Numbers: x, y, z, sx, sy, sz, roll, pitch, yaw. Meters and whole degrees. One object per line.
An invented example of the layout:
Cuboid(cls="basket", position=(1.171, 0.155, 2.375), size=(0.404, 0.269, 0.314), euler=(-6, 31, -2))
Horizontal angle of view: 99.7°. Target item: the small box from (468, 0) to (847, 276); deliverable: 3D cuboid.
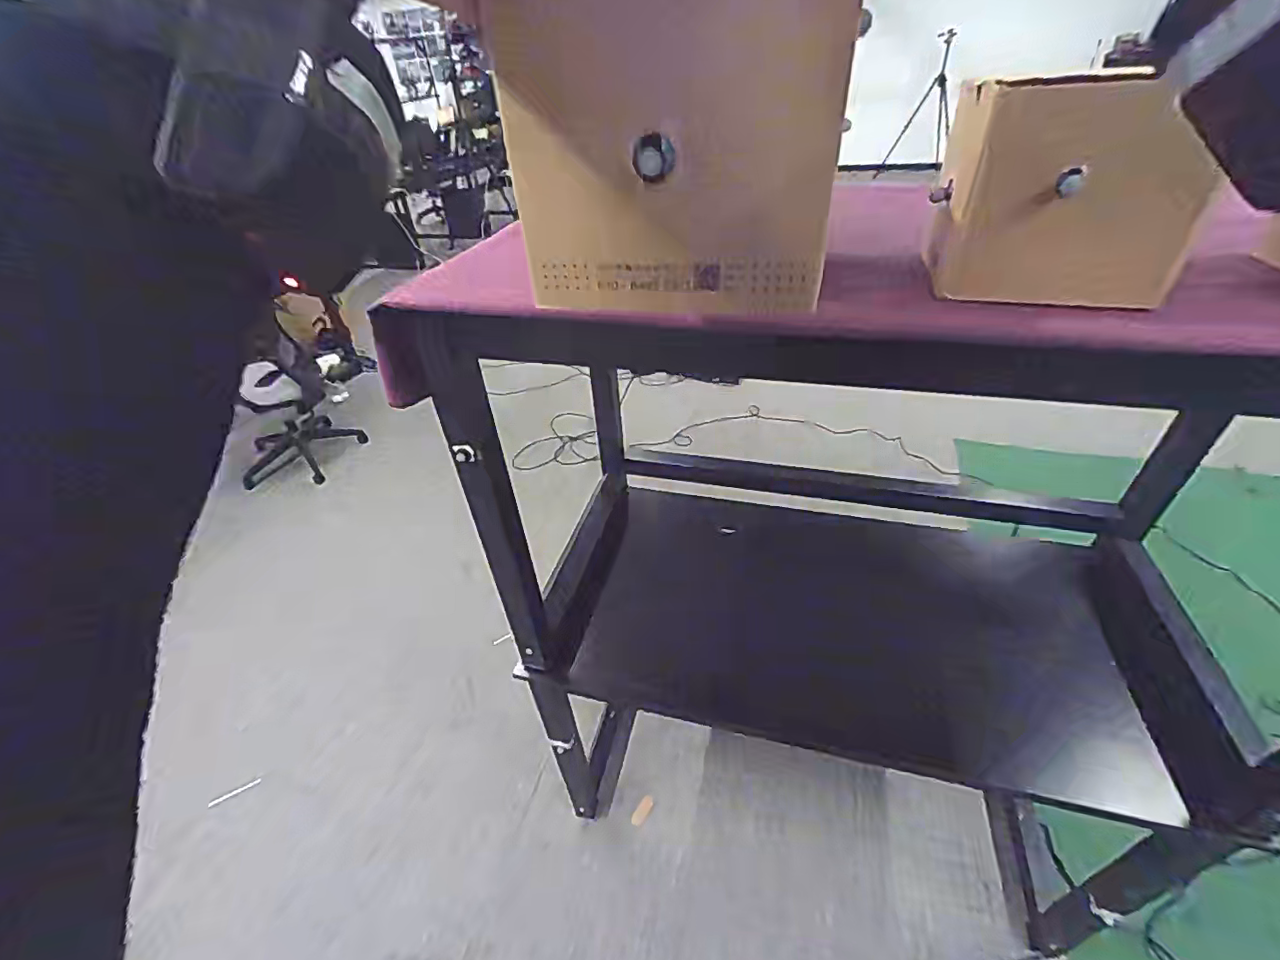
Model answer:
Cuboid(cls="small box", position=(0.021, -0.228, 0.304), size=(0.168, 0.176, 0.179), euler=(7, 42, 10))

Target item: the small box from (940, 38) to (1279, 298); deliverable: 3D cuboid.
Cuboid(cls="small box", position=(0.378, -0.268, 0.469), size=(0.179, 0.176, 0.168), euler=(10, 40, 16))

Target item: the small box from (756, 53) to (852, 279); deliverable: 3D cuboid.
Cuboid(cls="small box", position=(0.109, -0.310, 0.537), size=(0.168, 0.176, 0.179), euler=(9, 39, 14))
